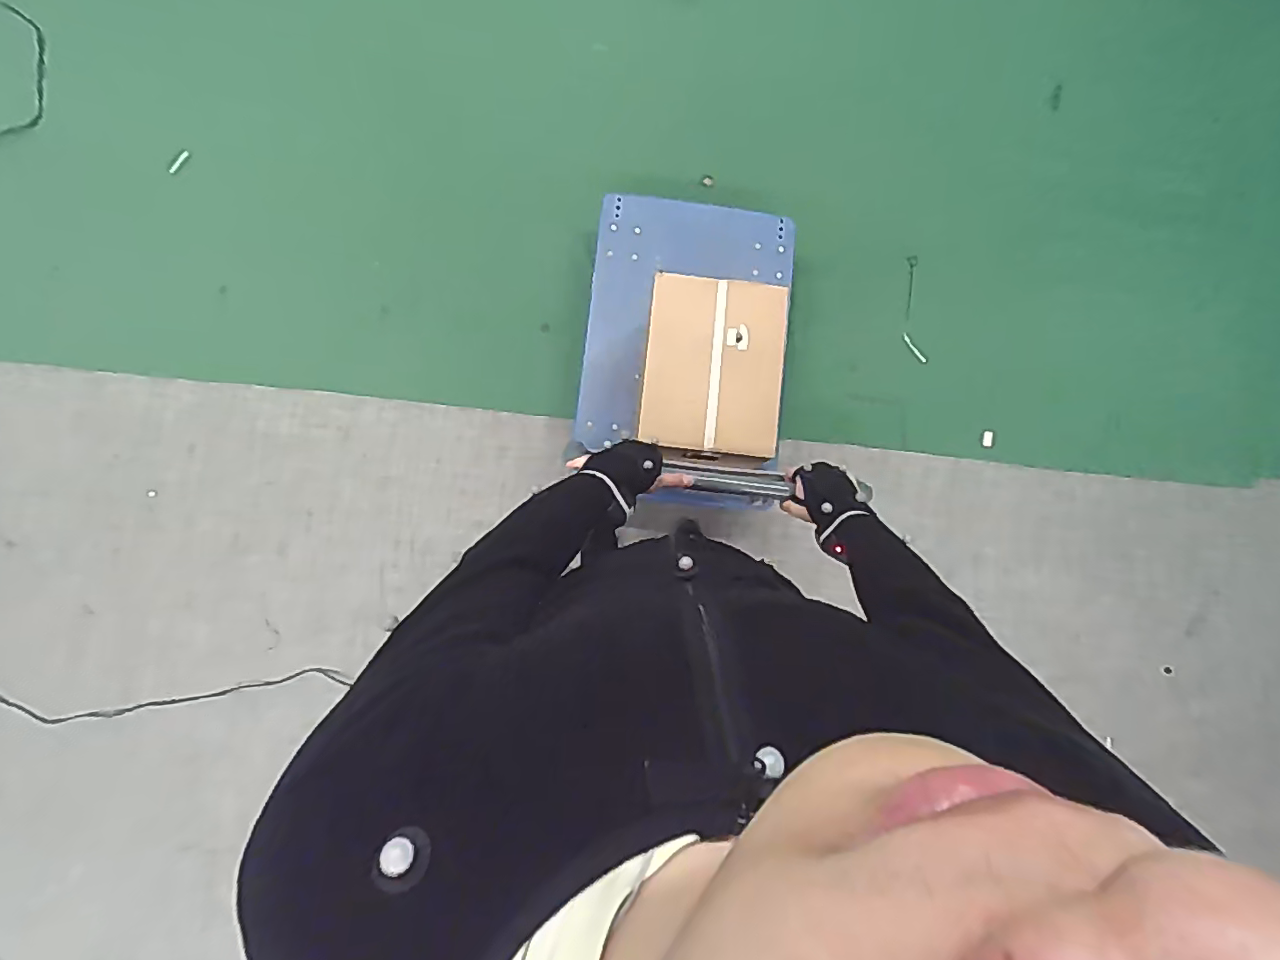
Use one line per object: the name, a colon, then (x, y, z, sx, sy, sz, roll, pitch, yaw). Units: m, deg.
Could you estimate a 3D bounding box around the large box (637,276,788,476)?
large box: (0.164, -0.235, 1.354, 0.320, 0.320, 0.408, 6, 83, -3)
